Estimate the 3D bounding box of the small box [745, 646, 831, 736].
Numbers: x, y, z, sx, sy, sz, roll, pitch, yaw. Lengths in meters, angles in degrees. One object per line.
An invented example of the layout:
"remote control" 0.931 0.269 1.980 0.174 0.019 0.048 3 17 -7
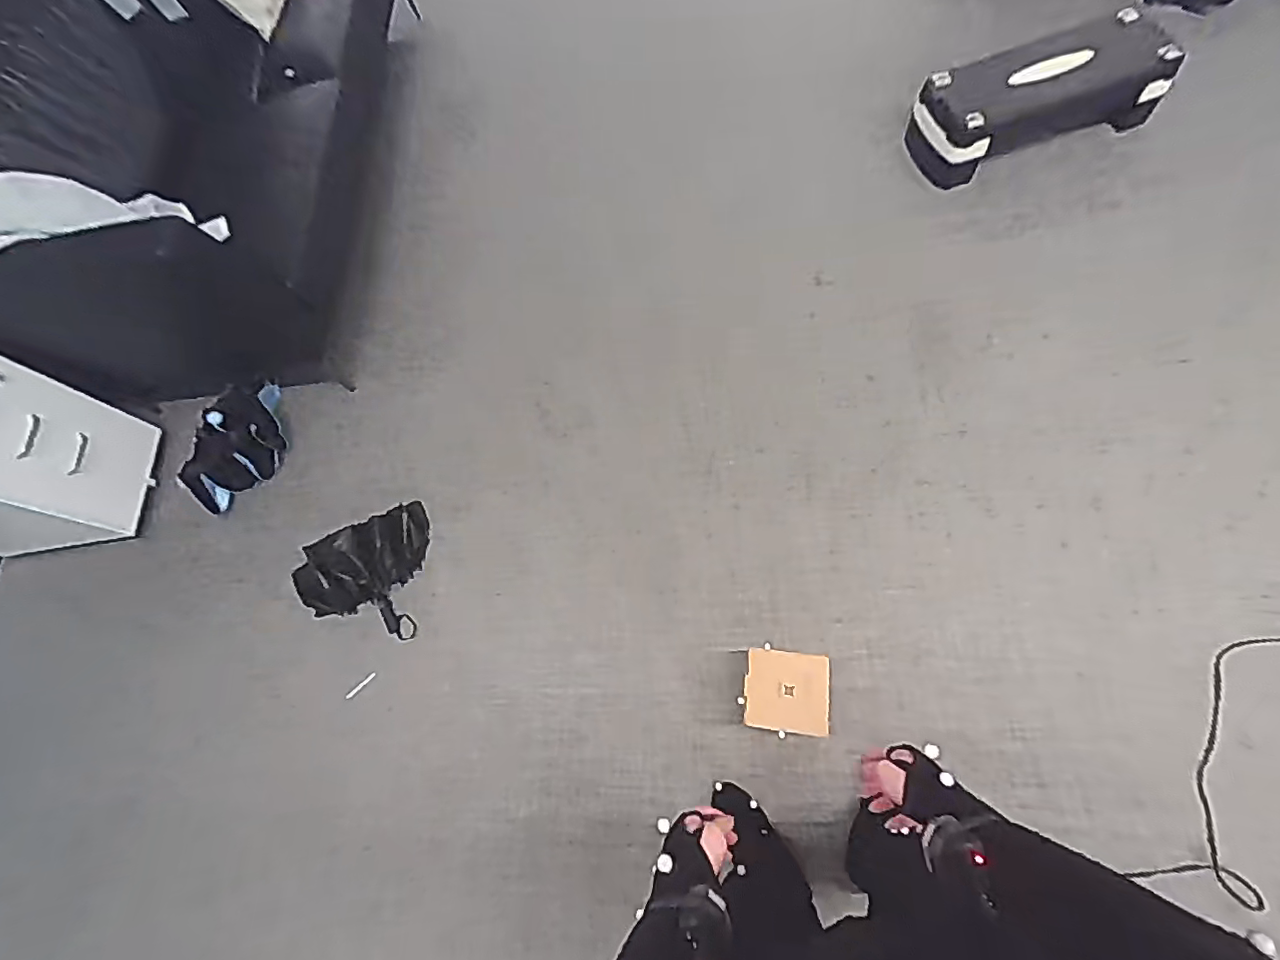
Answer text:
"small box" 0.336 0.481 1.244 0.179 0.176 0.168 3 71 12
